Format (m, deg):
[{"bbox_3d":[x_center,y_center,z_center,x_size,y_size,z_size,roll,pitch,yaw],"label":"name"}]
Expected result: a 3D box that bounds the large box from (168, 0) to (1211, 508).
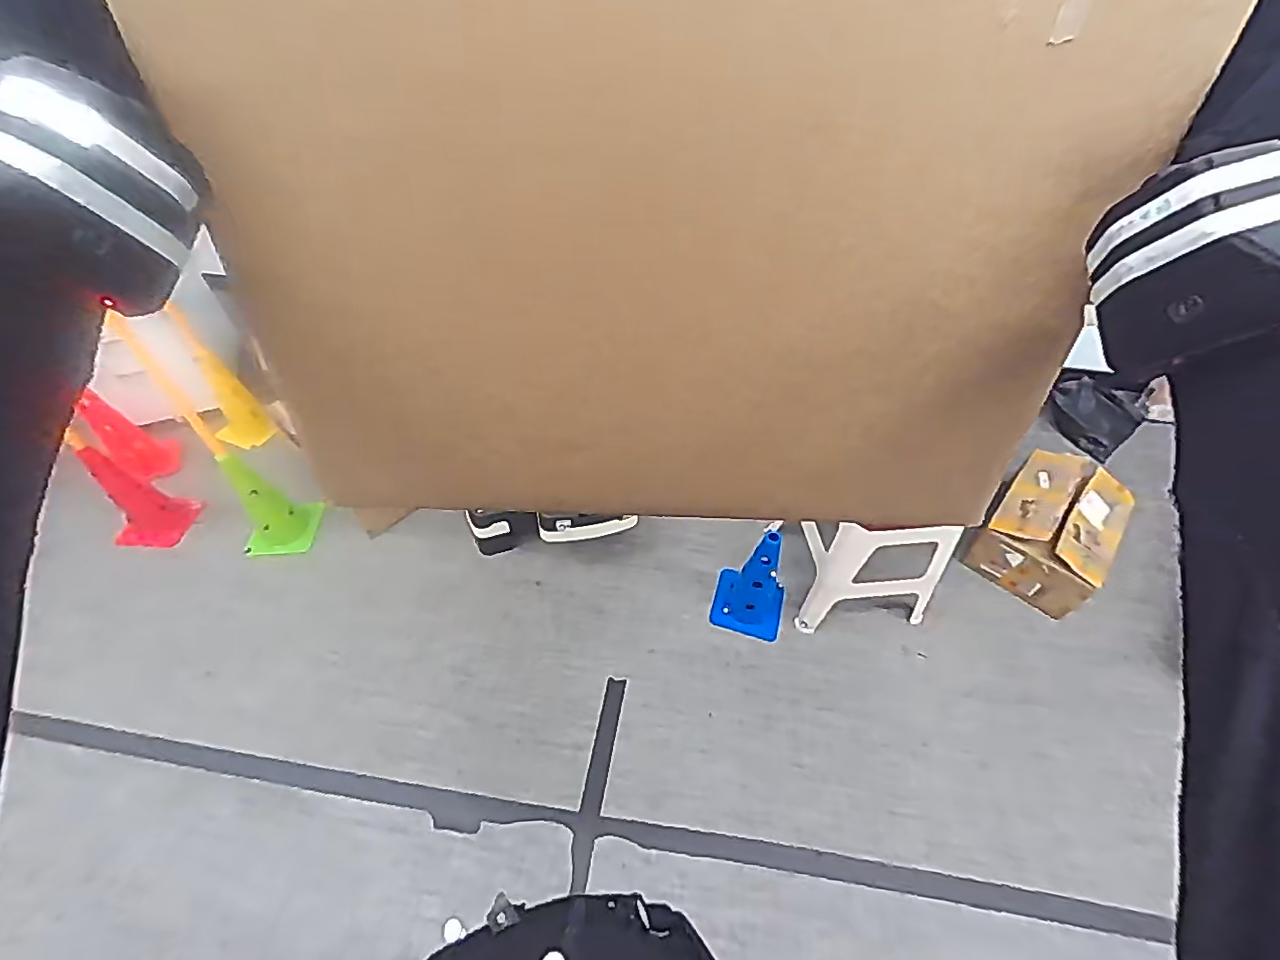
[{"bbox_3d":[0.015,-0.193,0.374,0.408,0.320,0.320,2,37,0],"label":"large box"}]
